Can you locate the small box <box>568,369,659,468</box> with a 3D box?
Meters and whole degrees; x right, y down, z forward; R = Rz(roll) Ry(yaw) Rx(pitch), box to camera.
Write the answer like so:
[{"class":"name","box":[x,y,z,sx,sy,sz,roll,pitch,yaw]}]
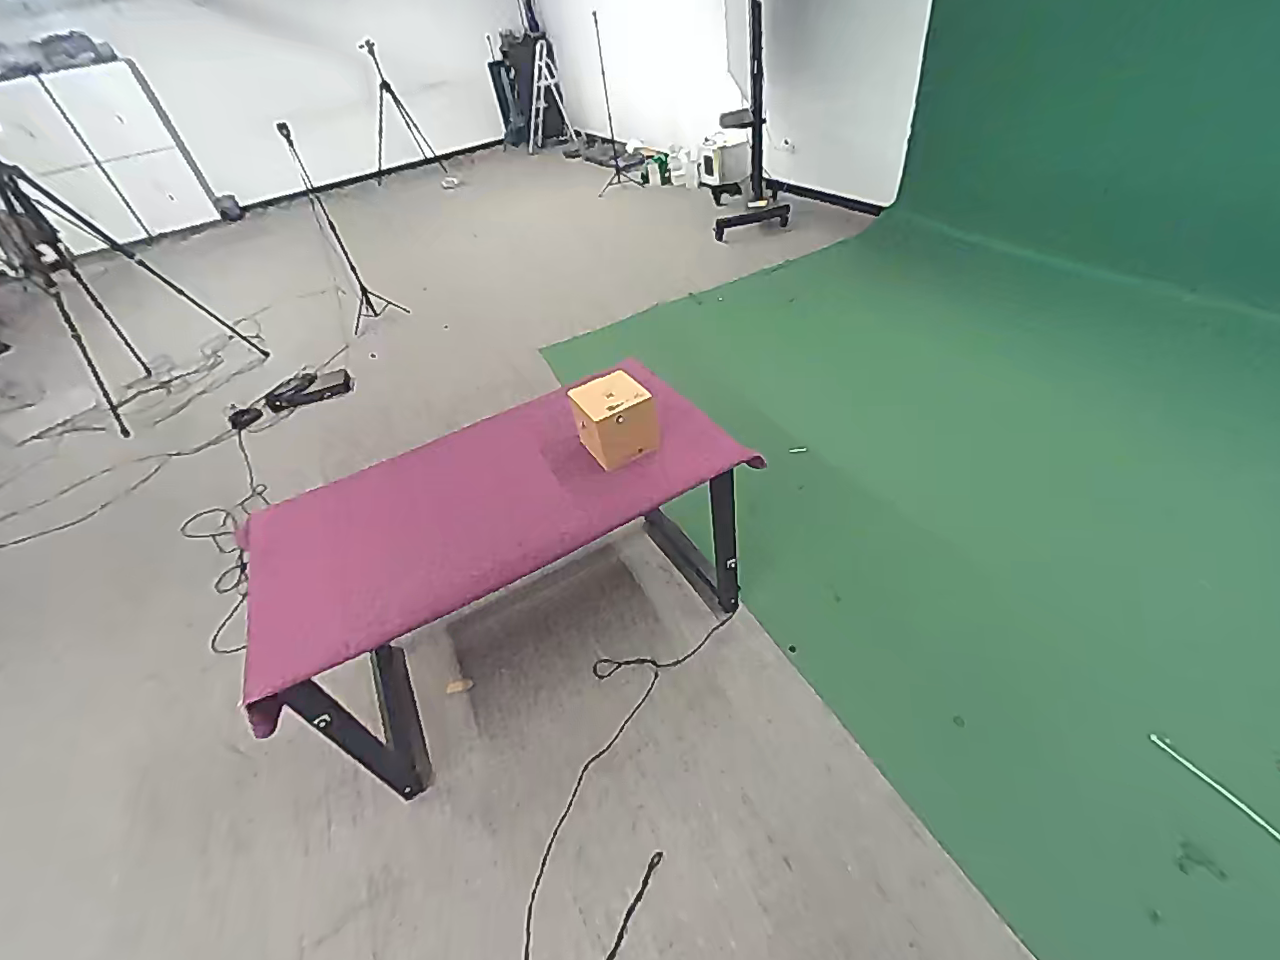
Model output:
[{"class":"small box","box":[-0.067,-0.162,1.429,0.168,0.176,0.179,-27,43,-15]}]
